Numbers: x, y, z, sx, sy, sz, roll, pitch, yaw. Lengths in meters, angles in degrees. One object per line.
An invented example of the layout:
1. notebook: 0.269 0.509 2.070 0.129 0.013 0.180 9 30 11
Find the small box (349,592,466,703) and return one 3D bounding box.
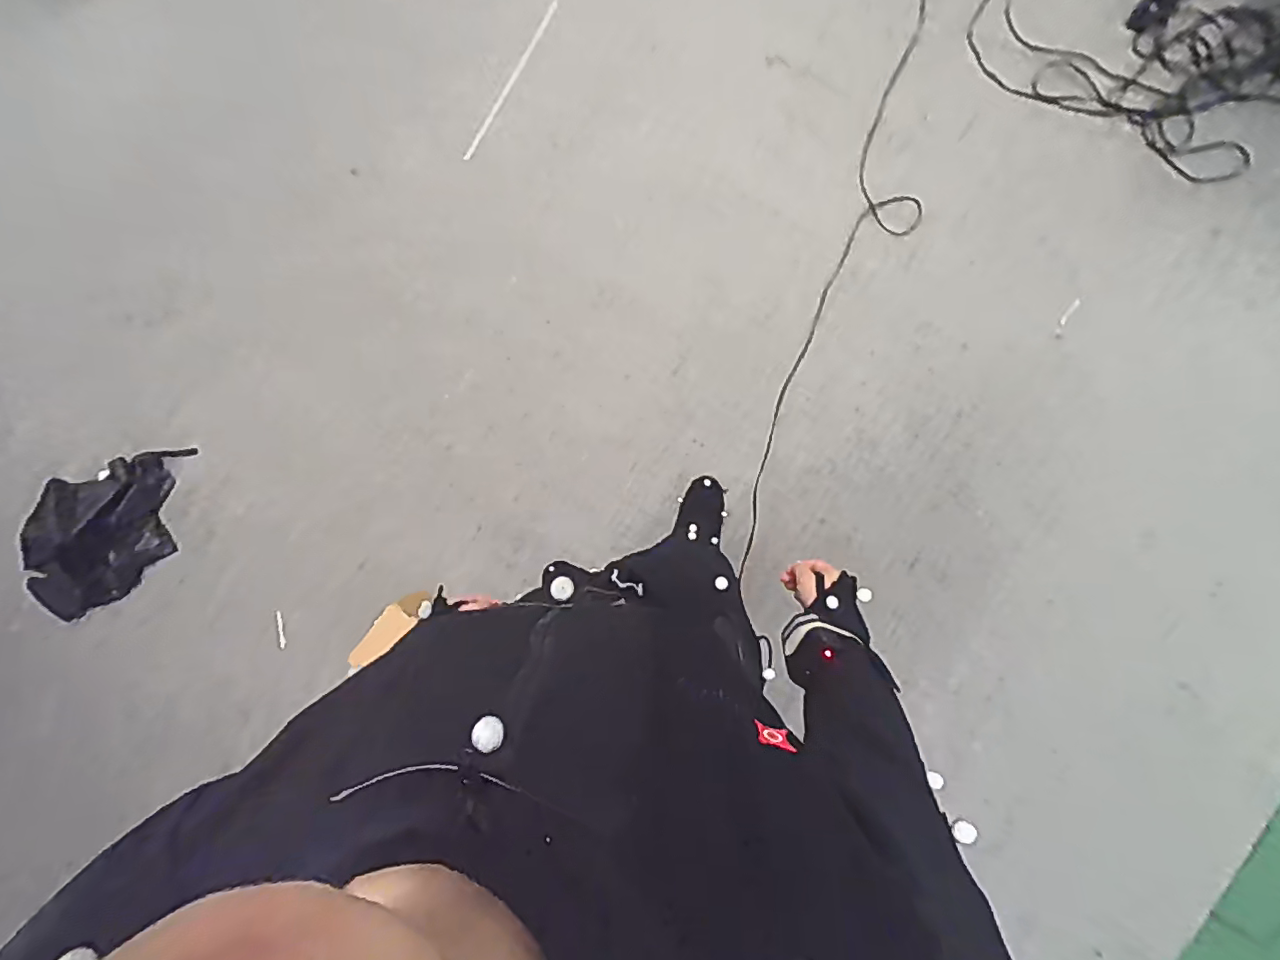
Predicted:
1. small box: -0.553 0.397 1.319 0.168 0.176 0.179 37 92 4
